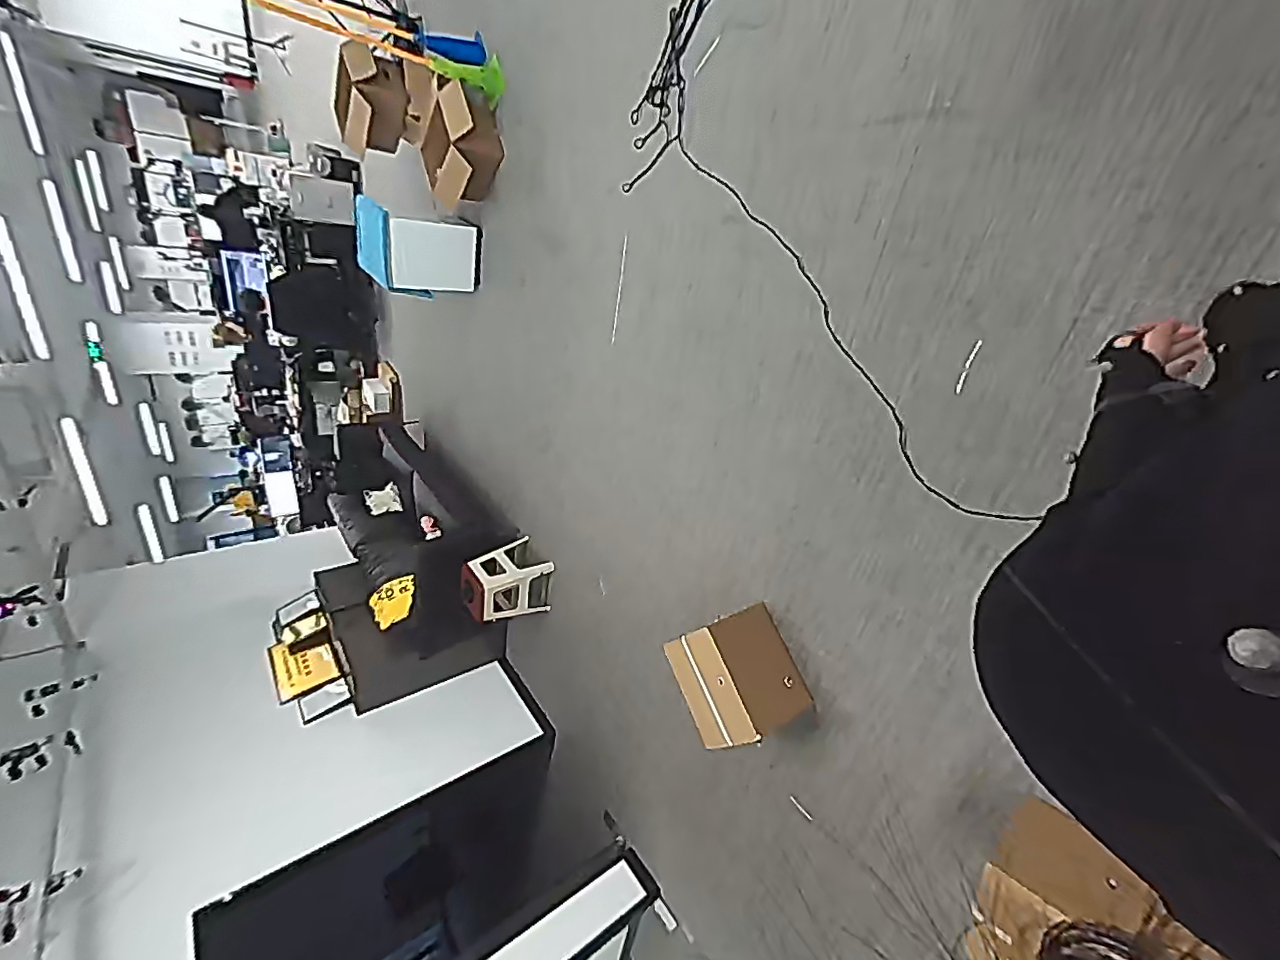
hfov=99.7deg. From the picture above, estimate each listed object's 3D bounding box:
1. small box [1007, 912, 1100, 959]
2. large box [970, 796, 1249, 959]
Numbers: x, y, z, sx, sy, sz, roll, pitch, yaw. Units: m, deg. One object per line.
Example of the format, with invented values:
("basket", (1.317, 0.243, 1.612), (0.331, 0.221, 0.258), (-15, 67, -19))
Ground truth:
("small box", (0.846, 1.047, 1.101), (0.168, 0.176, 0.179), (28, 120, 46))
("large box", (1.054, 1.042, 1.241), (0.408, 0.320, 0.320), (19, 115, 47))
